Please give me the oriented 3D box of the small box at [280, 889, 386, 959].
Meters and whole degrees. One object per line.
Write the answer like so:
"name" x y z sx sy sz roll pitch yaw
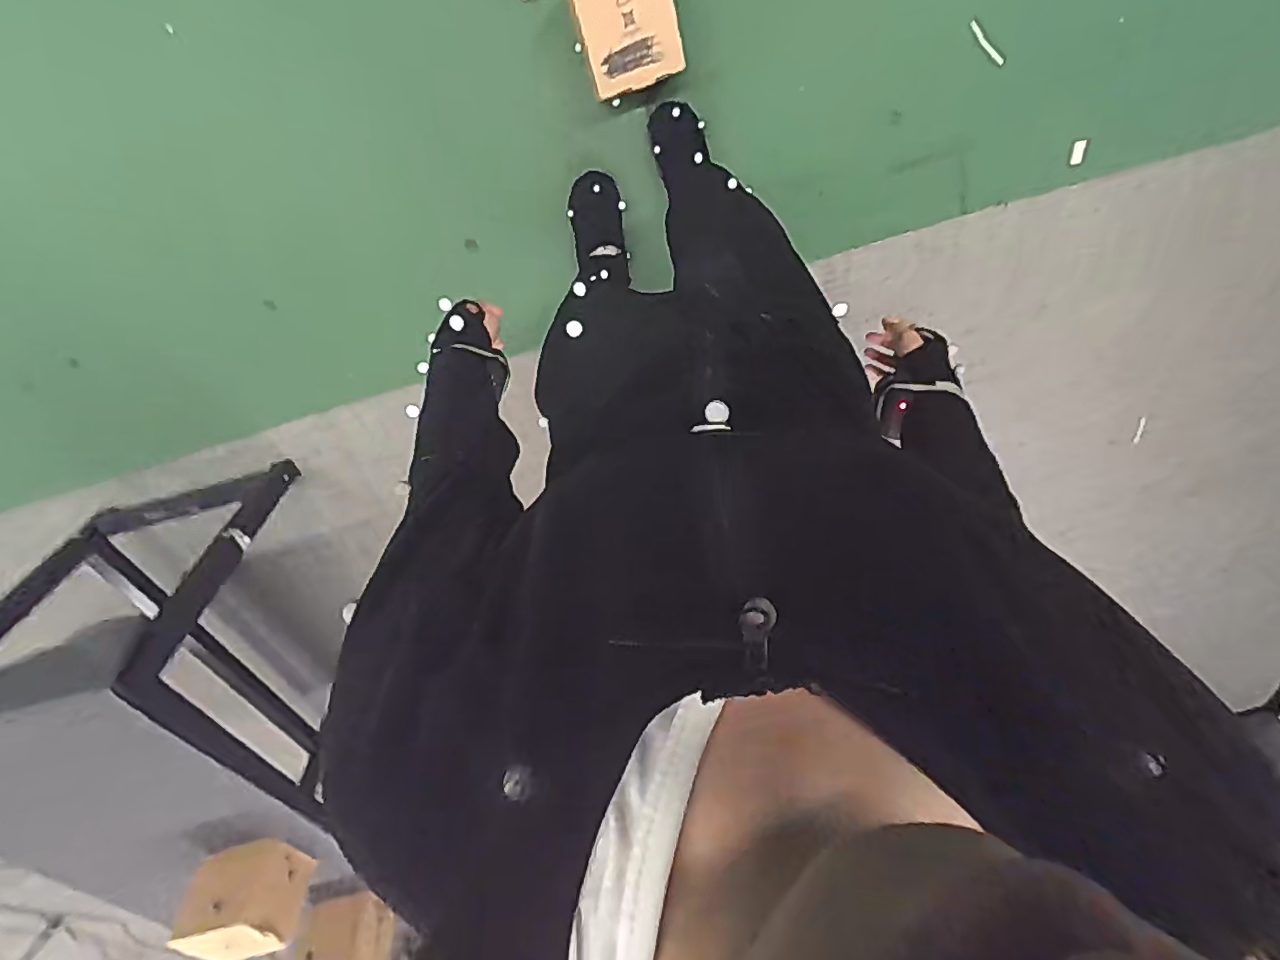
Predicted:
"small box" -0.802 1.213 1.417 0.179 0.176 0.168 -16 126 2

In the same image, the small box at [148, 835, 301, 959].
"small box" -0.904 0.926 1.199 0.179 0.176 0.168 -16 126 2
